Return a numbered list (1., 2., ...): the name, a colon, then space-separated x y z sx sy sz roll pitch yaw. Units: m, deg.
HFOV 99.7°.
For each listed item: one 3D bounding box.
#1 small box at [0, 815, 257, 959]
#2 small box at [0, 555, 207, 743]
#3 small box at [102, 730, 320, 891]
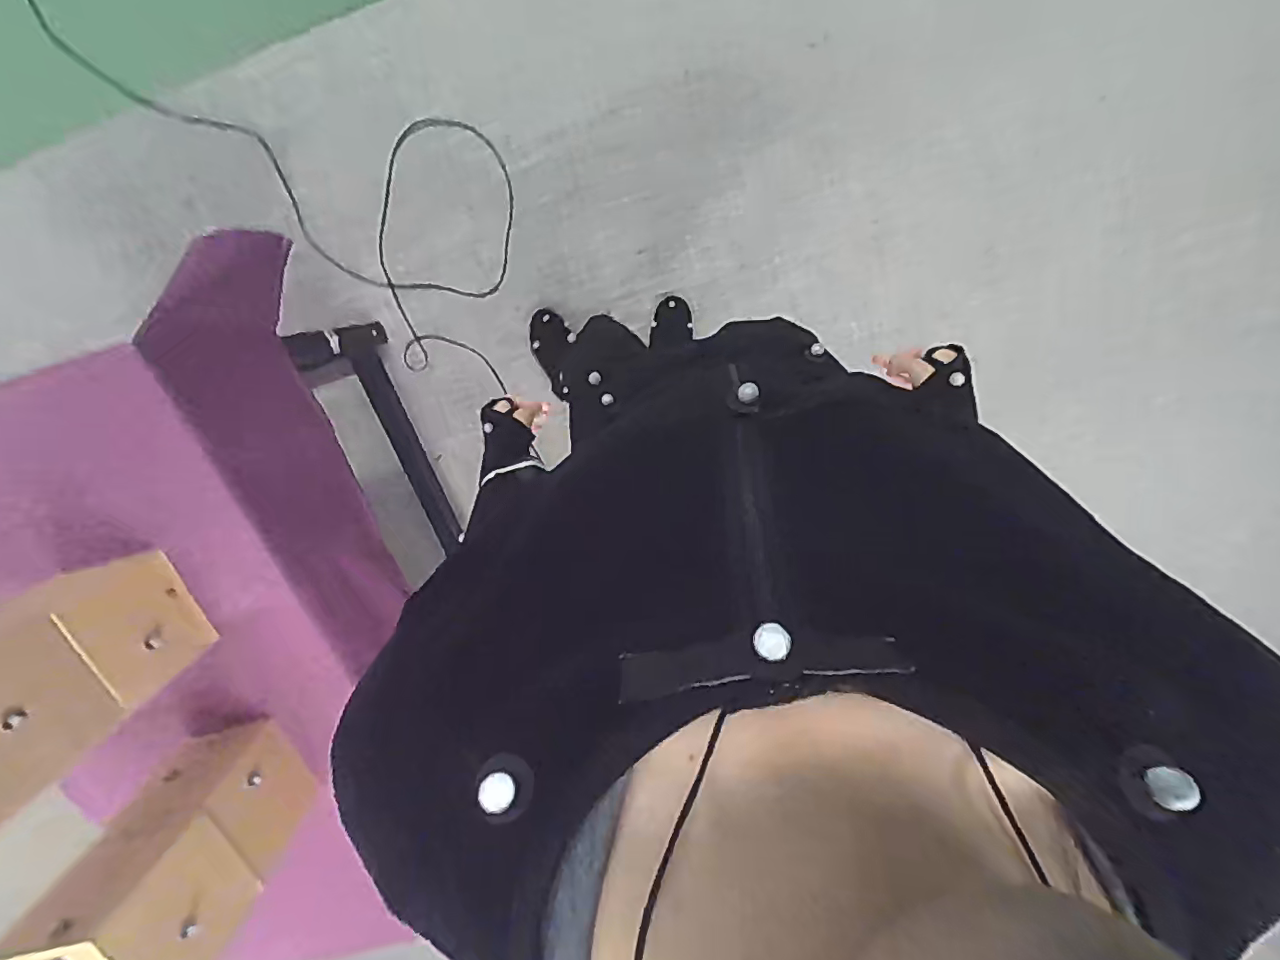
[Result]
1. small box: -0.657 0.584 0.706 0.168 0.176 0.179 -16 109 6
2. small box: -0.759 0.224 0.752 0.179 0.176 0.168 -15 109 6
3. small box: -0.661 0.526 0.859 0.168 0.176 0.179 -16 109 6
